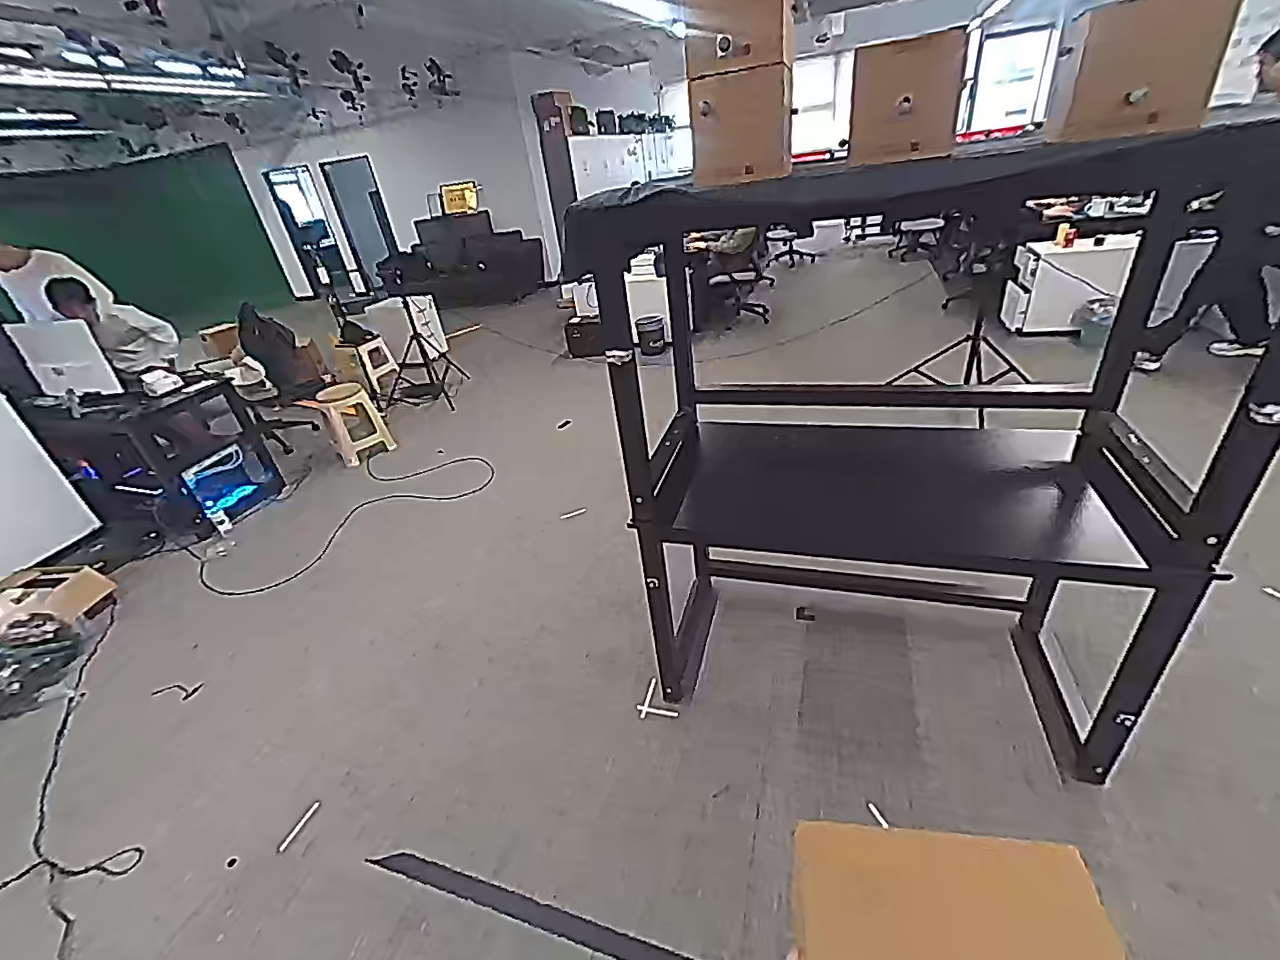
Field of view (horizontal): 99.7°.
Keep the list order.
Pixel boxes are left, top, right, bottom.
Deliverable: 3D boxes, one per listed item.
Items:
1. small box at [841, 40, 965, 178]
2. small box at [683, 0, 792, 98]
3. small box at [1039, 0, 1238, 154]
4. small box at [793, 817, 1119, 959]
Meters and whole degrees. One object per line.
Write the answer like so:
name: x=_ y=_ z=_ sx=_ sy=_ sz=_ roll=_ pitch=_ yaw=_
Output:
small box: x=0.443 y=-0.626 z=0.933 sx=0.168 sy=0.176 sz=0.179 roll=5 pitch=31 yaw=19
small box: x=0.172 y=-0.781 z=0.940 sx=0.168 sy=0.176 sz=0.179 roll=2 pitch=31 yaw=19
small box: x=0.738 y=-0.605 z=0.827 sx=0.168 sy=0.176 sz=0.179 roll=6 pitch=33 yaw=24
small box: x=0.186 y=0.344 z=0.334 sx=0.168 sy=0.176 sz=0.179 roll=-2 pitch=38 yaw=12
